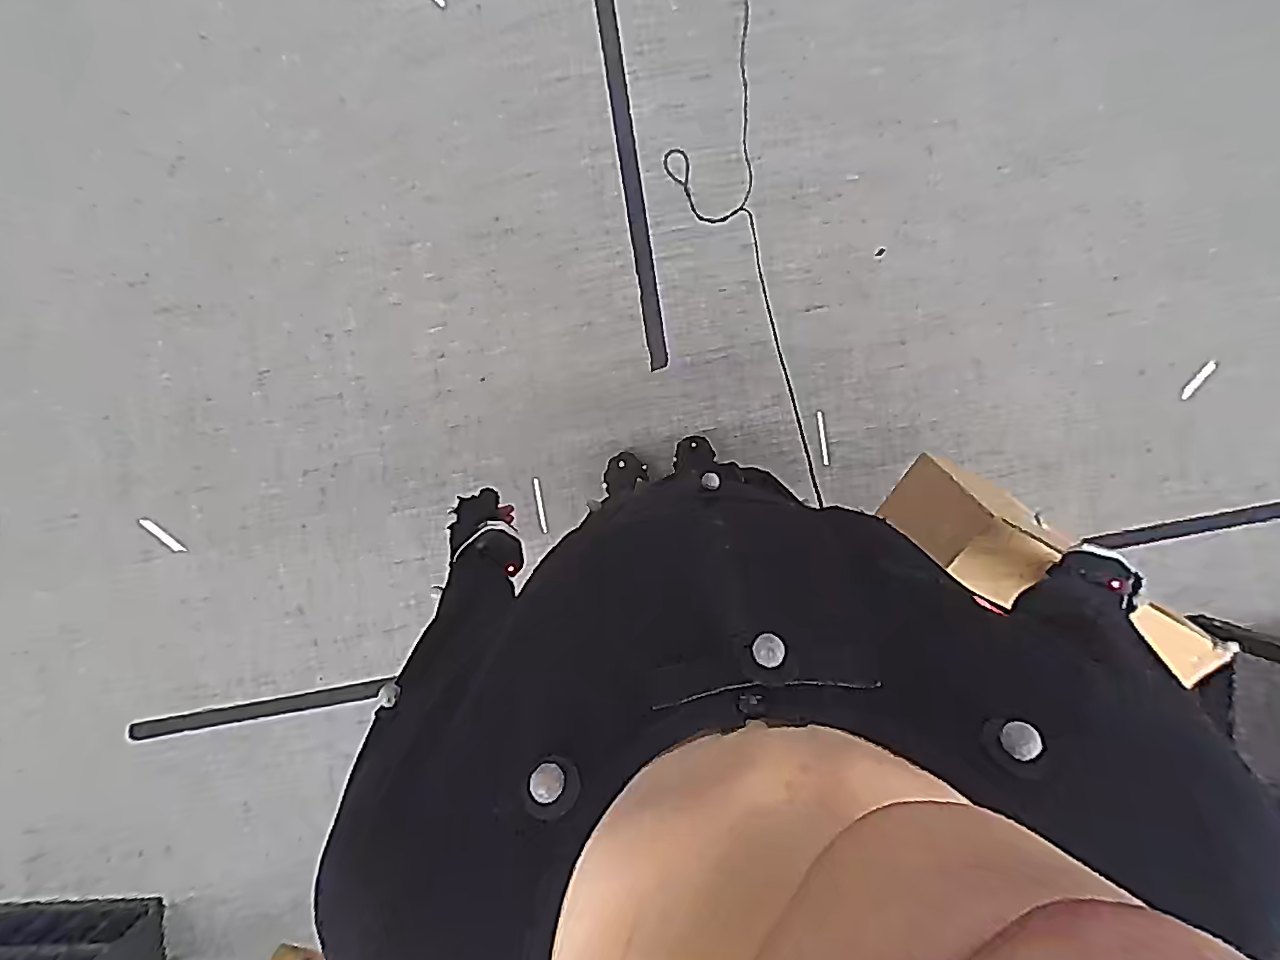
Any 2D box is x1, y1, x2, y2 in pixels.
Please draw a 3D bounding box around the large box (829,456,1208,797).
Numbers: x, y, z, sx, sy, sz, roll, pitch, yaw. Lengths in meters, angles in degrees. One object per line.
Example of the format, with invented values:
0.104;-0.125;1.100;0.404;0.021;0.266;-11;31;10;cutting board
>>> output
0.550;0.206;0.911;0.320;0.408;0.320;31;111;5;large box
